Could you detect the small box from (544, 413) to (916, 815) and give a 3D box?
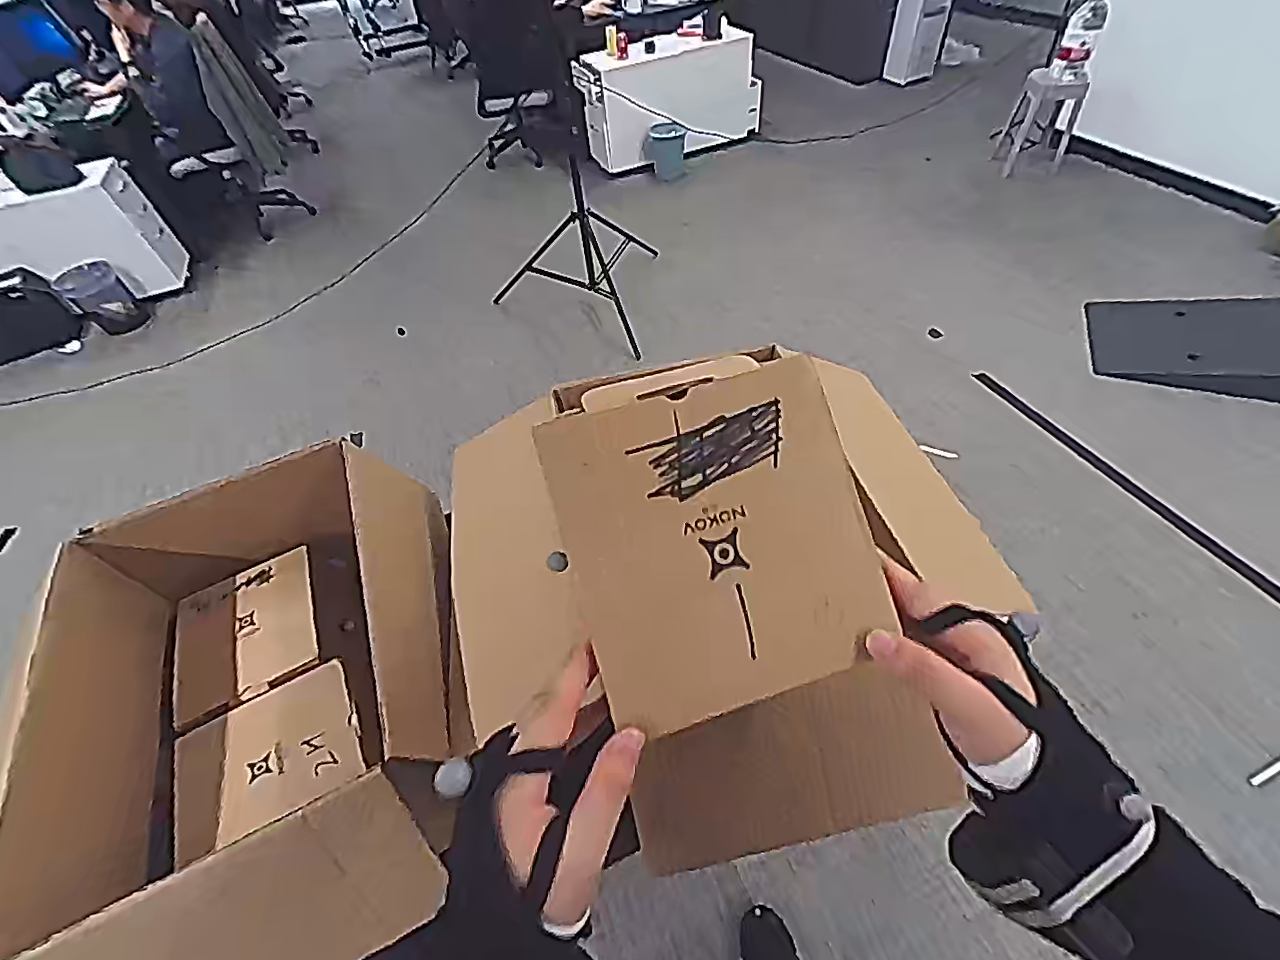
[{"bbox_3d":[0.038,0.076,0.365,0.168,0.176,0.179,-15,83,-8],"label":"small box"}]
